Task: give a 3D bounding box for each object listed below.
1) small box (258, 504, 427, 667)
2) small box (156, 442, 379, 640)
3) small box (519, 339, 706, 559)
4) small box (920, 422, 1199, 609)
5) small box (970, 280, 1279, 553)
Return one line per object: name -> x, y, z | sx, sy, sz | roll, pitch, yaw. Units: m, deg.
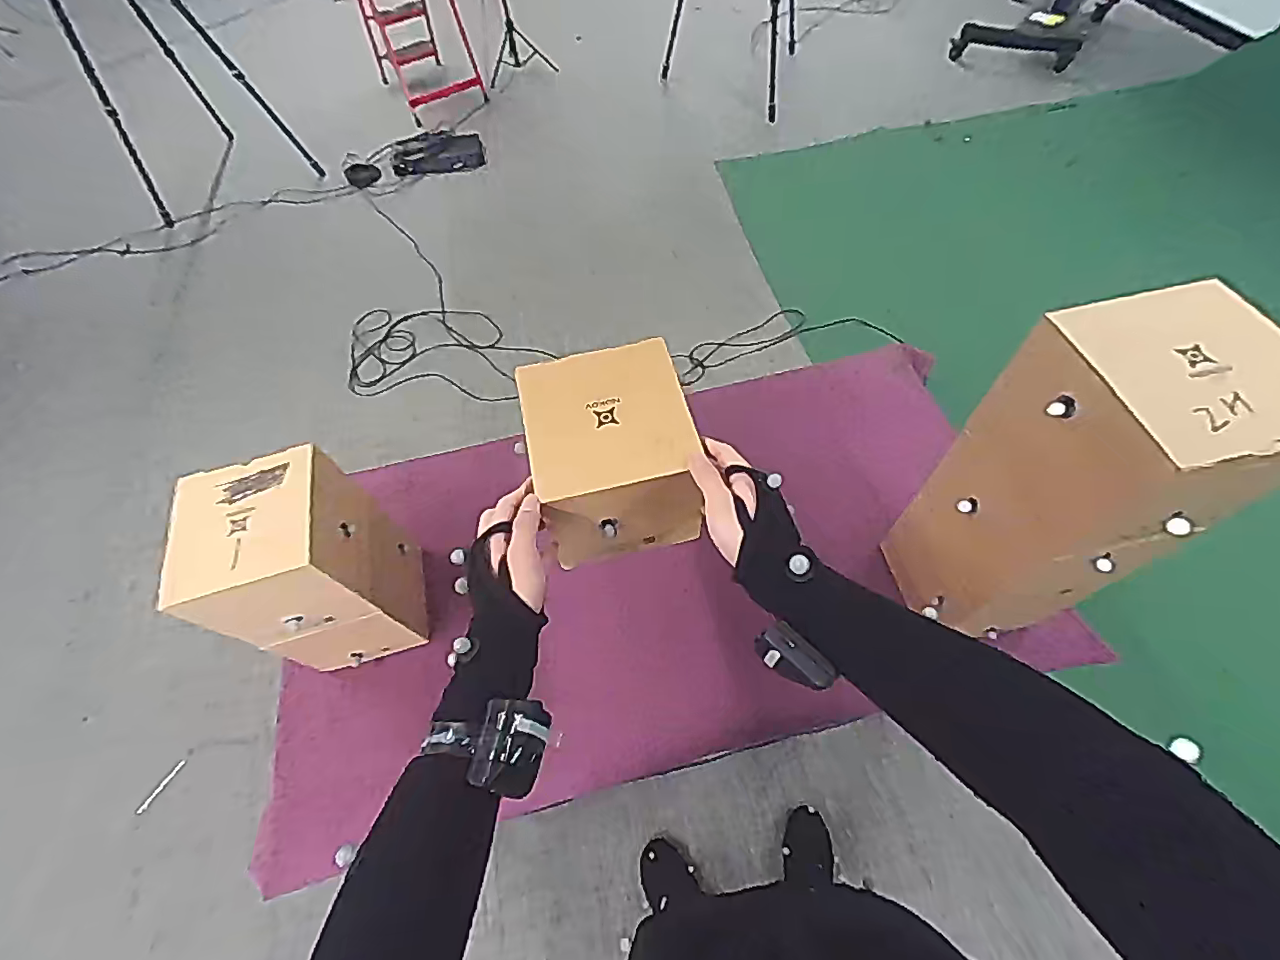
small box -> -0.447, 0.167, 0.837 | 0.168, 0.176, 0.179 | -16, 60, -5
small box -> -0.458, 0.083, 0.697 | 0.168, 0.176, 0.179 | -16, 60, -4
small box -> -0.029, -0.025, 0.610 | 0.168, 0.176, 0.179 | -13, 59, -4
small box -> 0.473, 0.034, 0.651 | 0.168, 0.176, 0.179 | -11, 58, -1
small box -> 0.459, -0.054, 0.512 | 0.168, 0.176, 0.179 | -12, 59, -1
